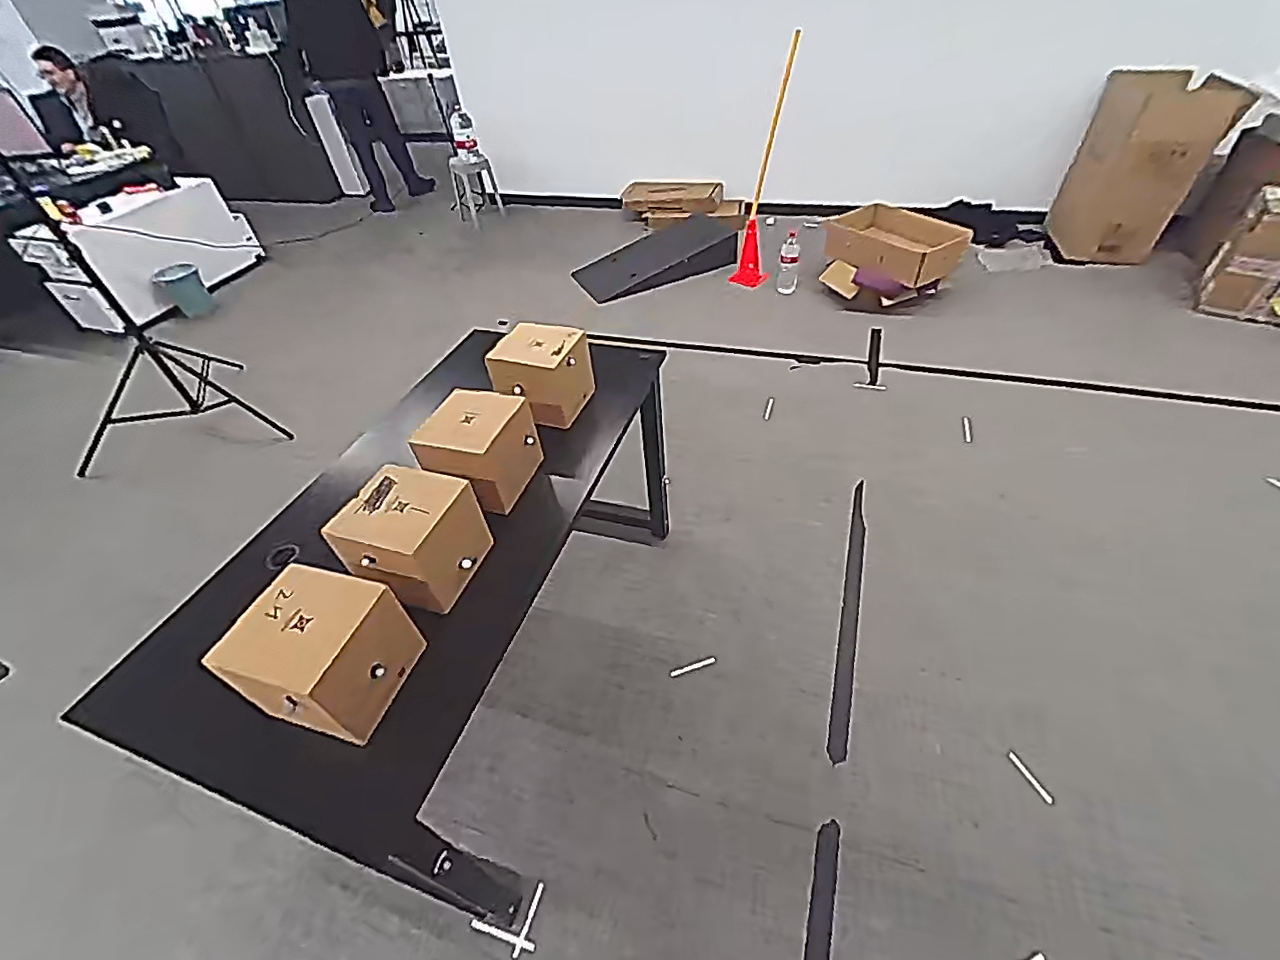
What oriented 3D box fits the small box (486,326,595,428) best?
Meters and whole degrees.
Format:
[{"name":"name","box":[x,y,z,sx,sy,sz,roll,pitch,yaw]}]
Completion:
[{"name":"small box","box":[-0.225,-0.240,1.266,0.179,0.176,0.168,11,48,18]}]

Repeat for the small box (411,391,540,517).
[{"name":"small box","box":[-0.317,-0.054,1.090,0.168,0.176,0.179,8,47,16]}]
